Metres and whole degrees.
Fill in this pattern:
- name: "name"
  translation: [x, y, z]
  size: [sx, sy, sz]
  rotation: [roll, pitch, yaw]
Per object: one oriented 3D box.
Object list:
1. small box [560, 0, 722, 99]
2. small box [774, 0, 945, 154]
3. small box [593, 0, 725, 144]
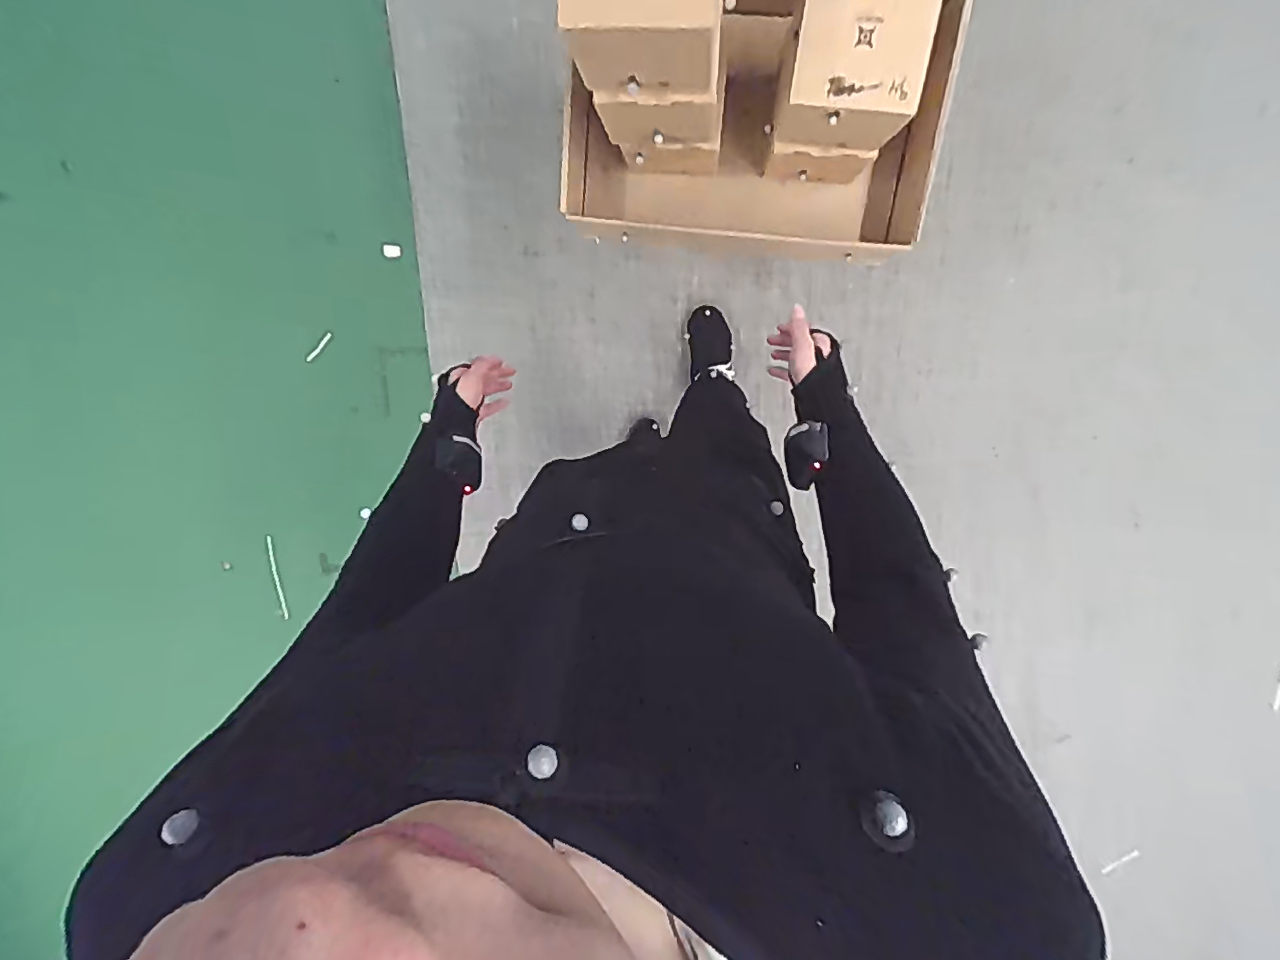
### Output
- name: "small box"
  translation: [0.011, -0.564, 0.608]
  size: [0.168, 0.176, 0.179]
  rotation: [5, 107, 4]
- name: "small box"
  translation: [0.292, -0.582, 0.750]
  size: [0.168, 0.176, 0.179]
  rotation: [8, 108, 3]
- name: "small box"
  translation: [0.029, -0.602, 0.765]
  size: [0.168, 0.176, 0.179]
  rotation: [4, 107, 4]
